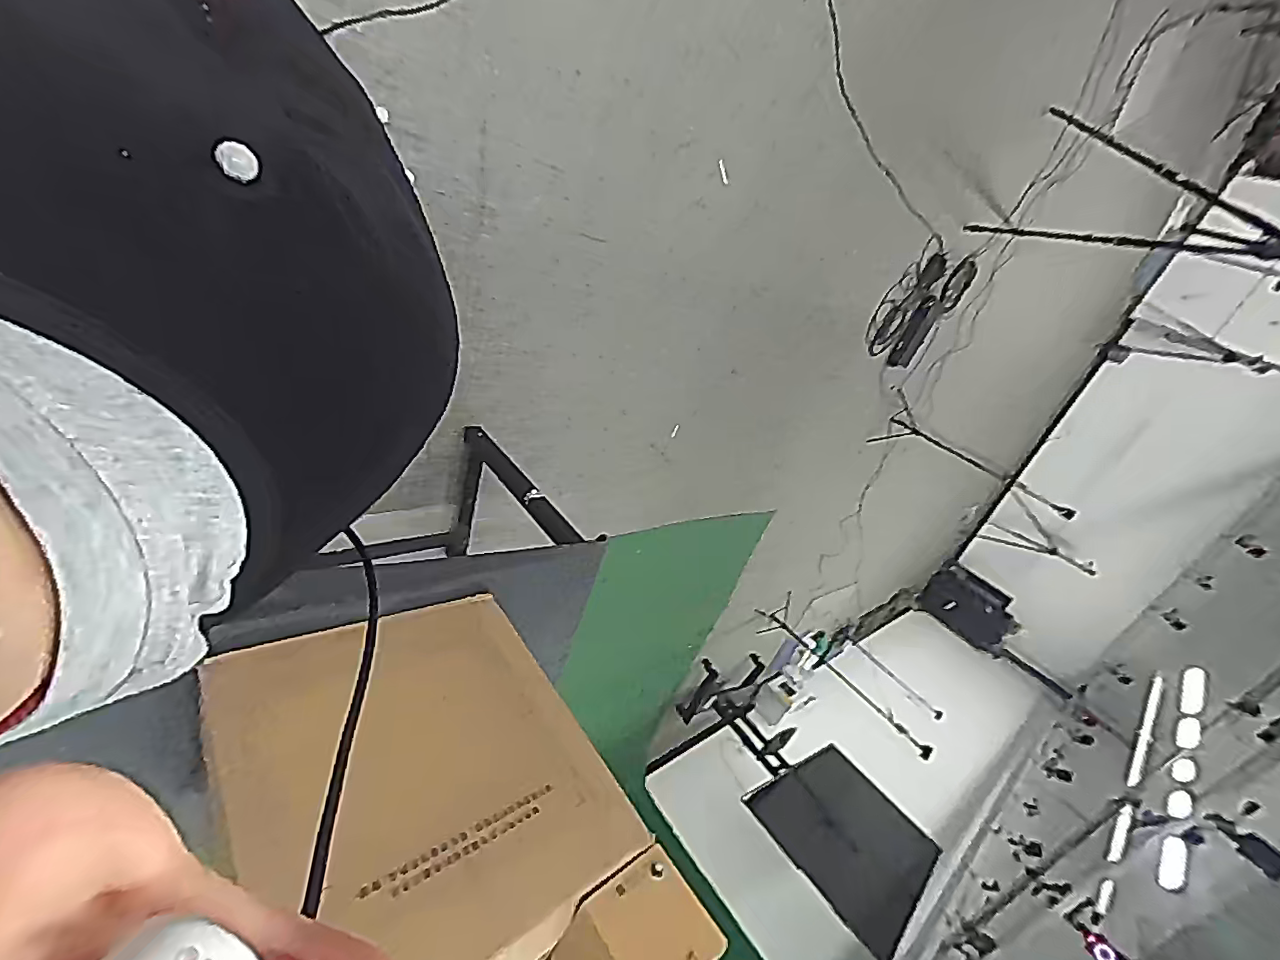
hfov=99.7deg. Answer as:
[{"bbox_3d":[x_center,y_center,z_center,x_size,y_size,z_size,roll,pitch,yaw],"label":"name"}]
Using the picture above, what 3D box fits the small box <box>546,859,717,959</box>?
[{"bbox_3d":[-0.020,0.729,0.827,0.168,0.176,0.179,-4,126,-45],"label":"small box"}]
